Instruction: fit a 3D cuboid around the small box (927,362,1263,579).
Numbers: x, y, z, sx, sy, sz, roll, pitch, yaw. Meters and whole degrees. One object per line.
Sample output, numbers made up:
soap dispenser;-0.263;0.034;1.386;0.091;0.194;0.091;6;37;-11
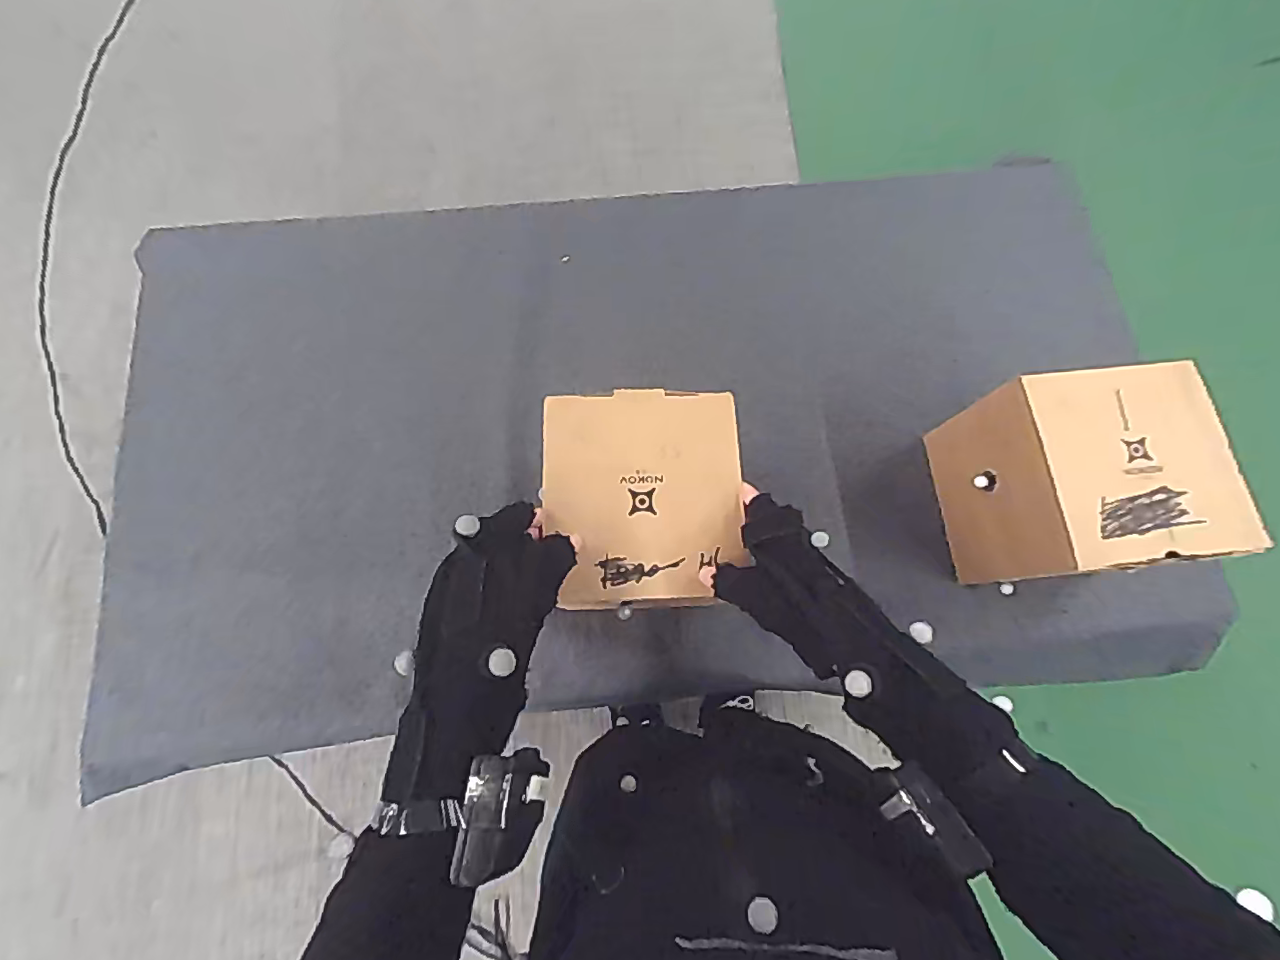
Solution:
small box;0.423;0.003;0.540;0.168;0.176;0.179;-5;75;-3

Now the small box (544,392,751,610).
small box;0.001;0.030;0.520;0.168;0.176;0.179;-1;75;-2
